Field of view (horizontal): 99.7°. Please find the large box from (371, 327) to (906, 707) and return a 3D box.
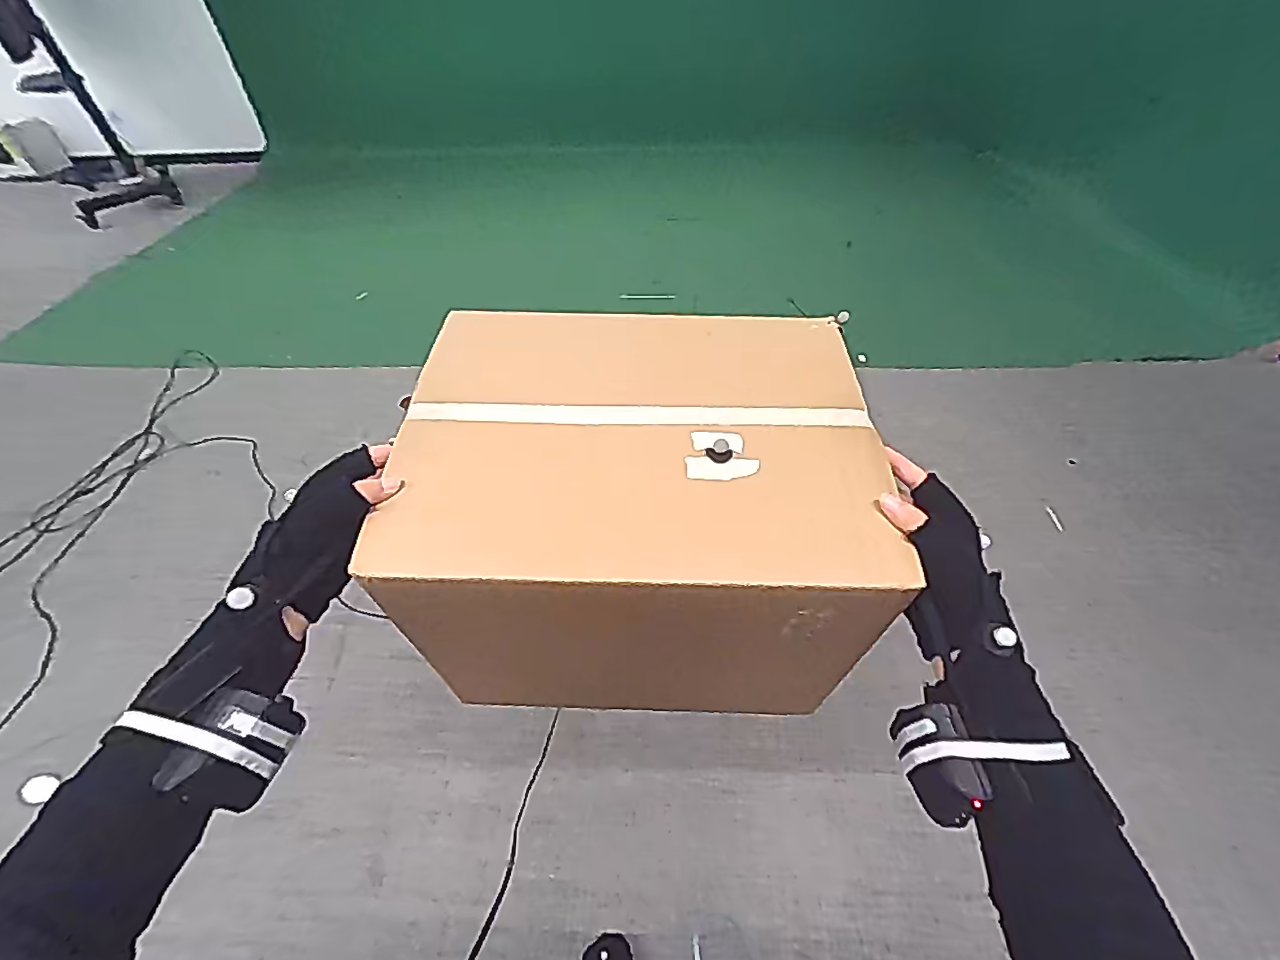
[{"bbox_3d":[-0.004,0.049,0.602,0.408,0.320,0.320,1,52,-1],"label":"large box"}]
